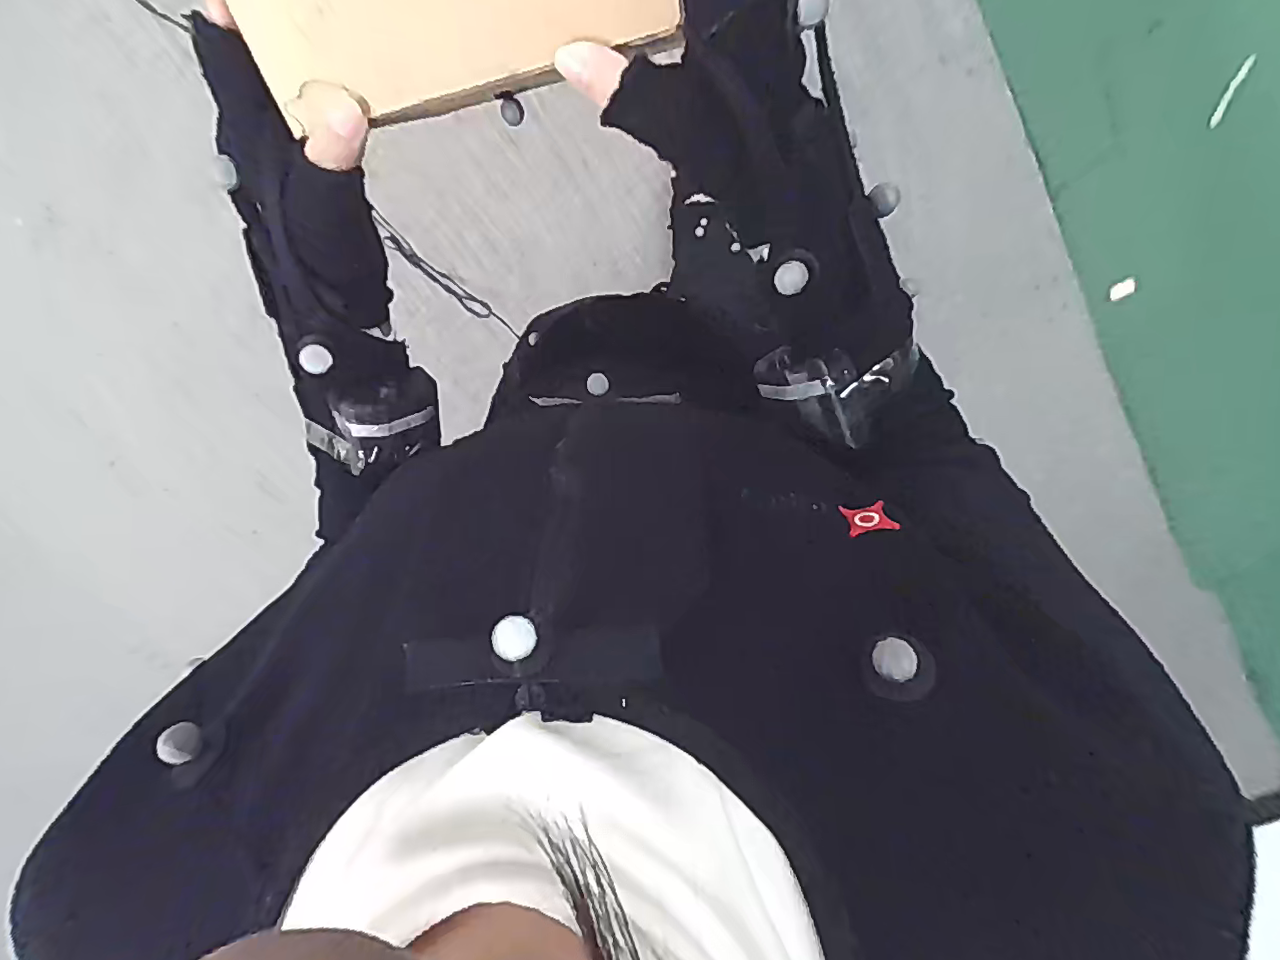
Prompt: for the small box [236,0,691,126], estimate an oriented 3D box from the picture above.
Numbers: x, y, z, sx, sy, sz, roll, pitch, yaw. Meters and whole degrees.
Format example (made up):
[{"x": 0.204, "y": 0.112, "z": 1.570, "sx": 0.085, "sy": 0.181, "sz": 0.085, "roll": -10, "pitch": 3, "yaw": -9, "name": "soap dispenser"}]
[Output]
[{"x": -0.077, "y": -0.277, "z": 0.236, "sx": 0.179, "sy": 0.176, "sz": 0.168, "roll": -8, "pitch": 126, "yaw": 12, "name": "small box"}]
